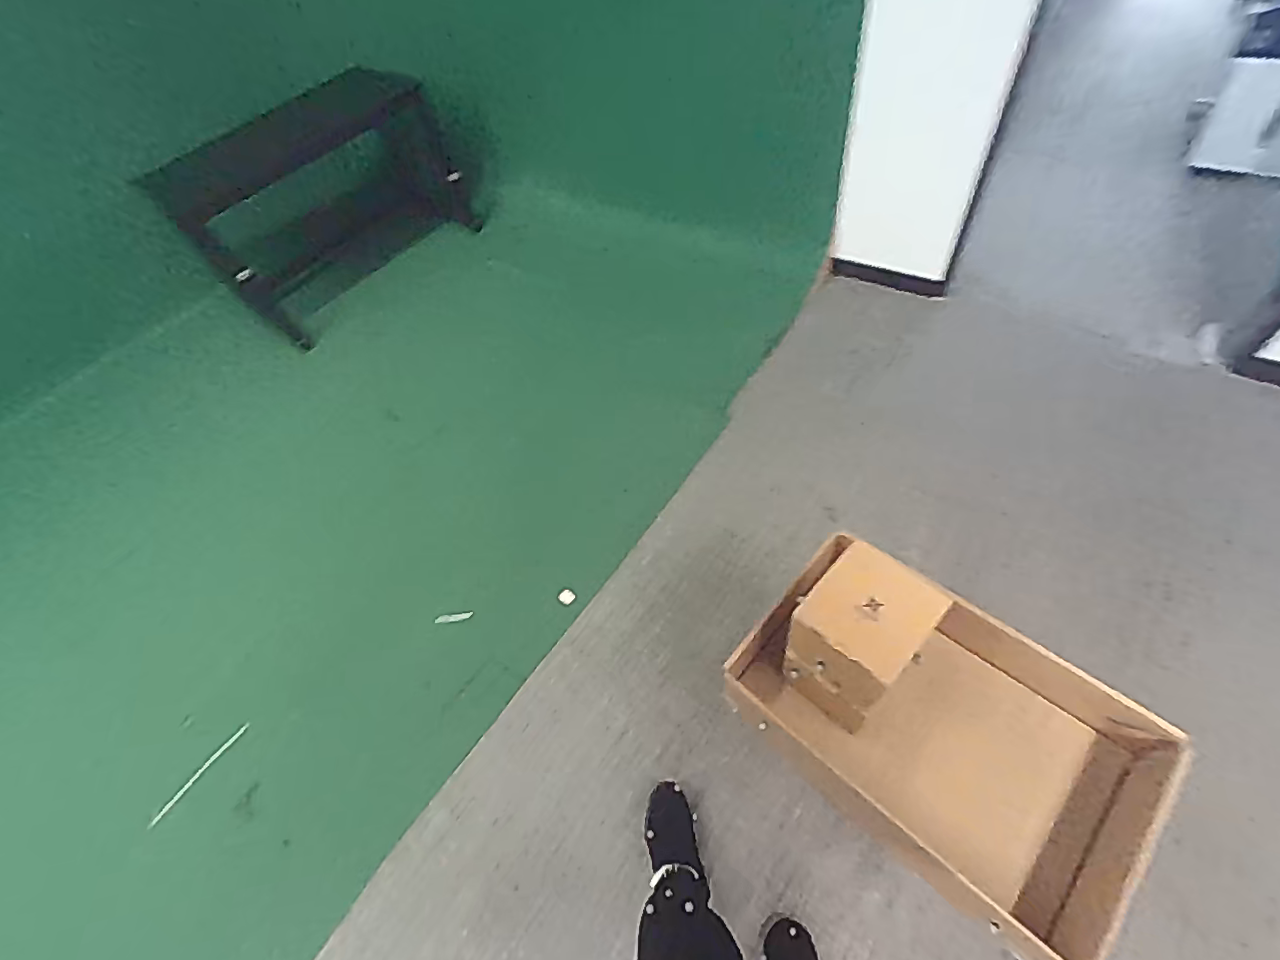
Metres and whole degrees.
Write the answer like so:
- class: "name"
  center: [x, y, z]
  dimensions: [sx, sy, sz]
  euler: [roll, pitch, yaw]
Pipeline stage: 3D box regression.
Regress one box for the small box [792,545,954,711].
- class: "small box"
  center: [0.368, 0.246, 0.889]
  dimensions: [0.179, 0.176, 0.168]
  euler: [-42, 60, -18]
